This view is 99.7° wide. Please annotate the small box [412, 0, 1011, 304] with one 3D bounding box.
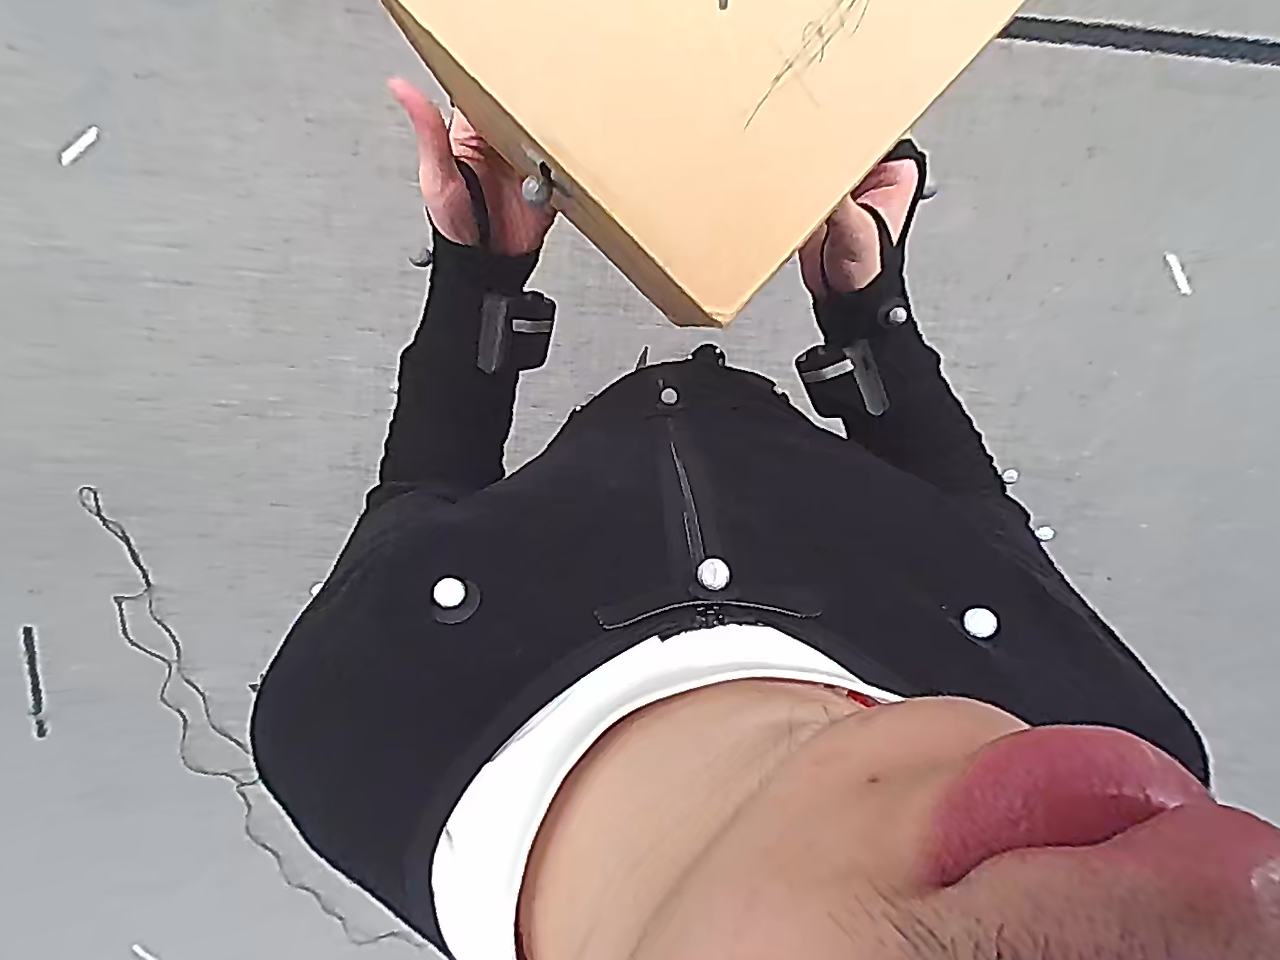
[{"bbox_3d":[0.022,-0.201,0.261,0.179,0.176,0.168,41,101,-12],"label":"small box"}]
